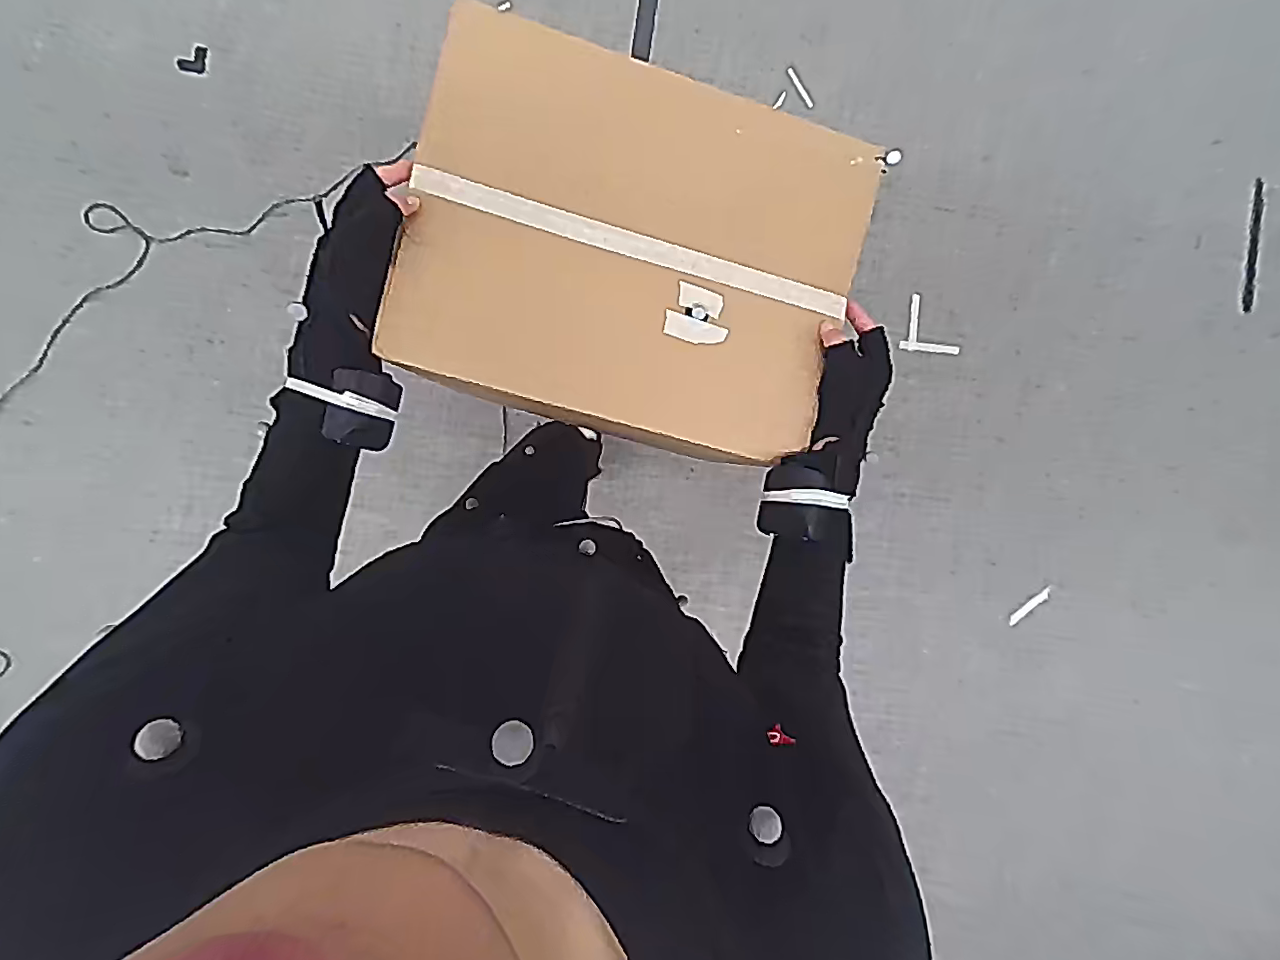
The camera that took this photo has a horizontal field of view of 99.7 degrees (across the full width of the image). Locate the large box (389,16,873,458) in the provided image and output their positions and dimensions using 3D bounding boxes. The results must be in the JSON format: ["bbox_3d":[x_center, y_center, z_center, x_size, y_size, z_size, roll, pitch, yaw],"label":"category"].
[{"bbox_3d":[-0.019,-0.223,0.648,0.408,0.320,0.320,14,93,-8],"label":"large box"}]
